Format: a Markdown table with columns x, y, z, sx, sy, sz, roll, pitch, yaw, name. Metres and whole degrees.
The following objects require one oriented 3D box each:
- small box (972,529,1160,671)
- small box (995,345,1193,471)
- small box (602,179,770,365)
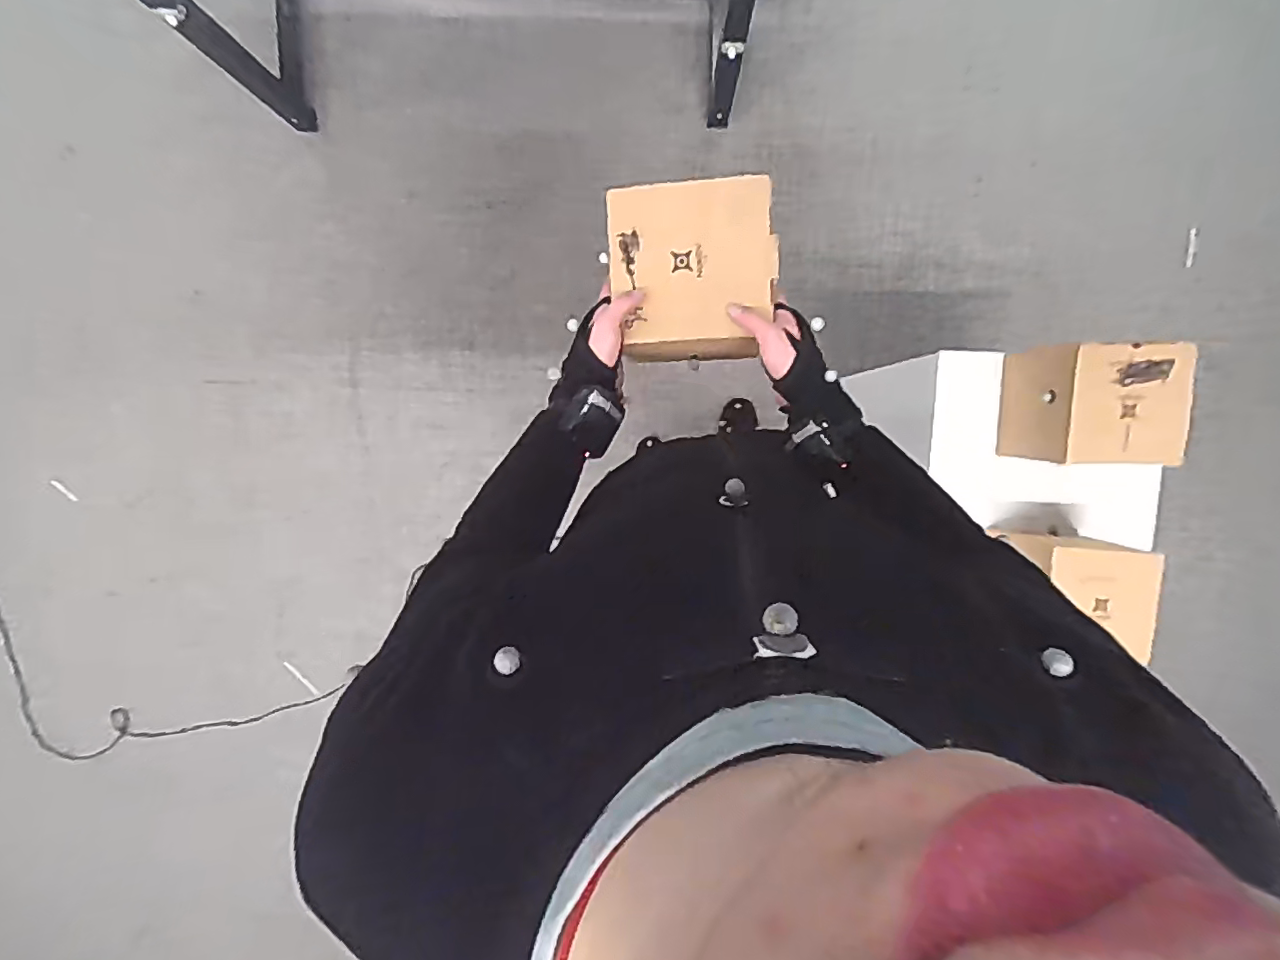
| x | y | z | sx | sy | sz | roll | pitch | yaw | name |
| --- | --- | --- | --- | --- | --- | --- | --- | --- | --- |
| 0.672 | 0.185 | 0.876 | 0.168 | 0.176 | 0.179 | 4 | 95 | 1 | small box |
| 0.690 | -0.111 | 0.844 | 0.168 | 0.176 | 0.179 | 1 | 98 | 2 | small box |
| 0.054 | -0.234 | 0.651 | 0.179 | 0.176 | 0.168 | -2 | 93 | 5 | small box |
